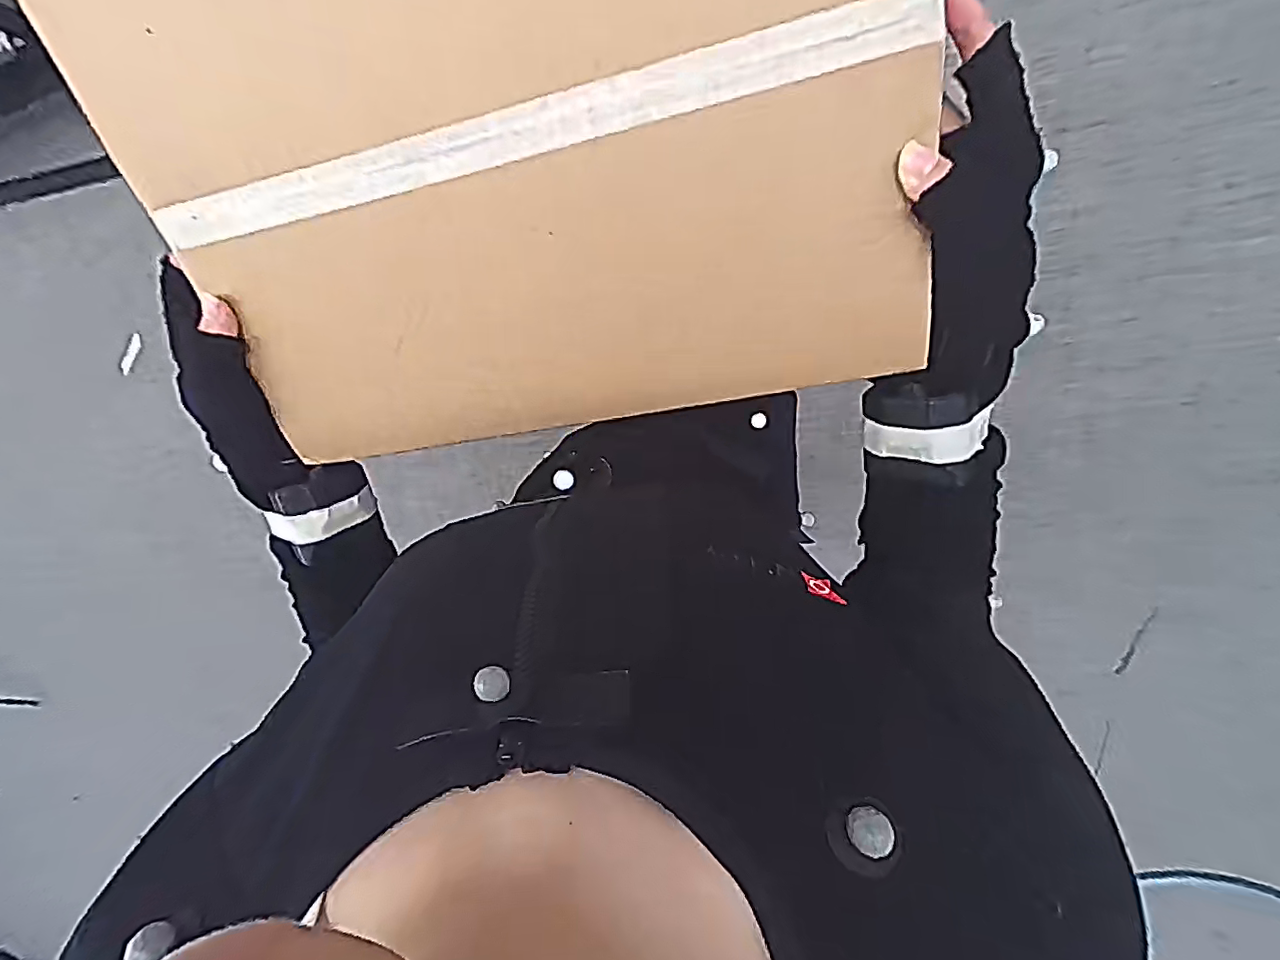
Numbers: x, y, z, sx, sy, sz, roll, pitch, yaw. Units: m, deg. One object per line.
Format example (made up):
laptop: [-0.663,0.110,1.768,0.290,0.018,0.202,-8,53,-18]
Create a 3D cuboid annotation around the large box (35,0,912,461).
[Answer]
large box: [-0.057,-0.249,0.398,0.408,0.320,0.320,-8,119,12]
